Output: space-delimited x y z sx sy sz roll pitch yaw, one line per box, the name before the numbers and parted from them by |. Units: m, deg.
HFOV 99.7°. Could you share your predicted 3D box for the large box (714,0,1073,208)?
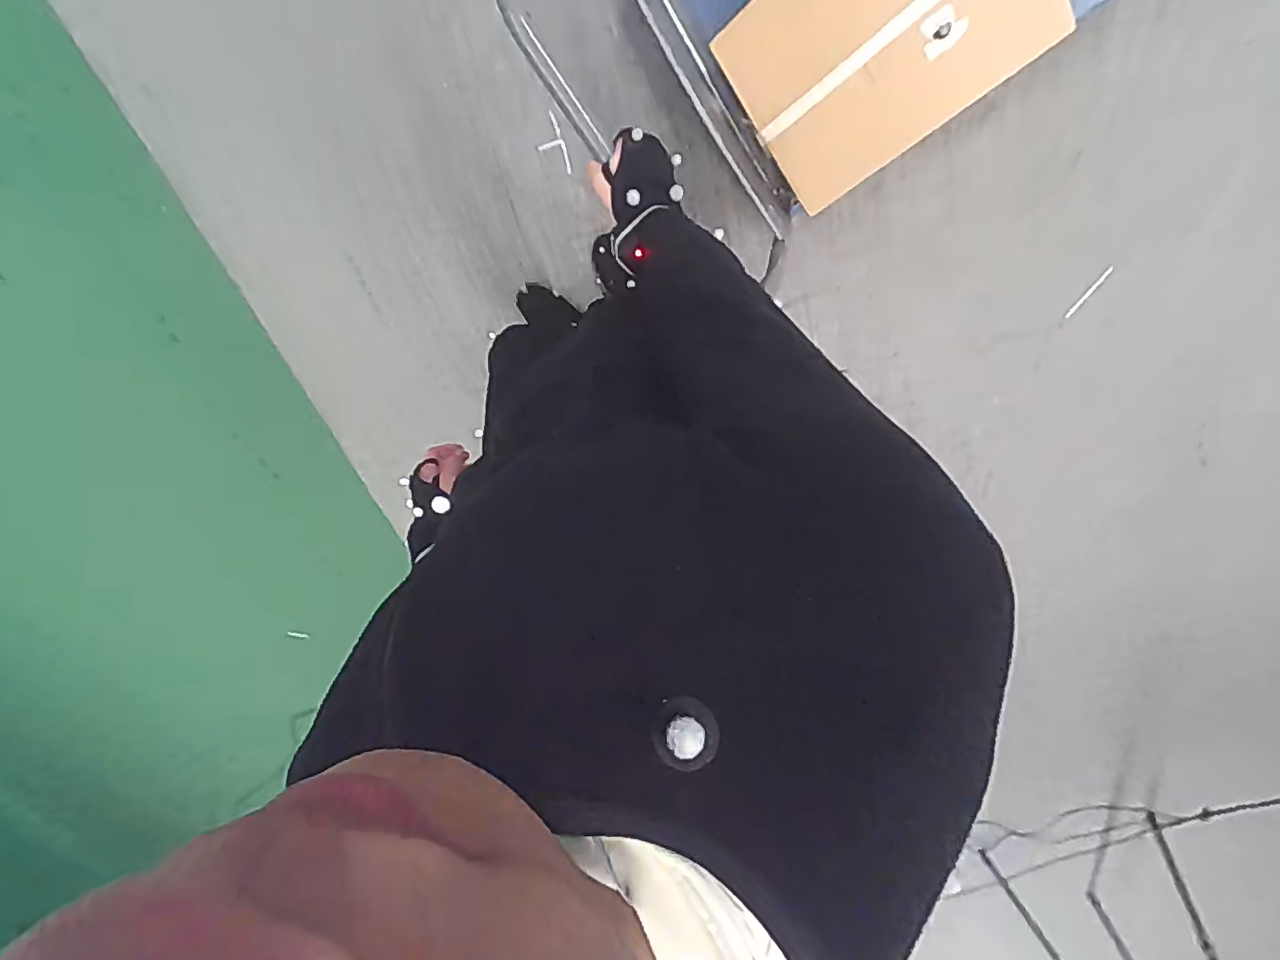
large box | 0.381 -0.741 0.899 0.408 0.320 0.320 -27 117 30
